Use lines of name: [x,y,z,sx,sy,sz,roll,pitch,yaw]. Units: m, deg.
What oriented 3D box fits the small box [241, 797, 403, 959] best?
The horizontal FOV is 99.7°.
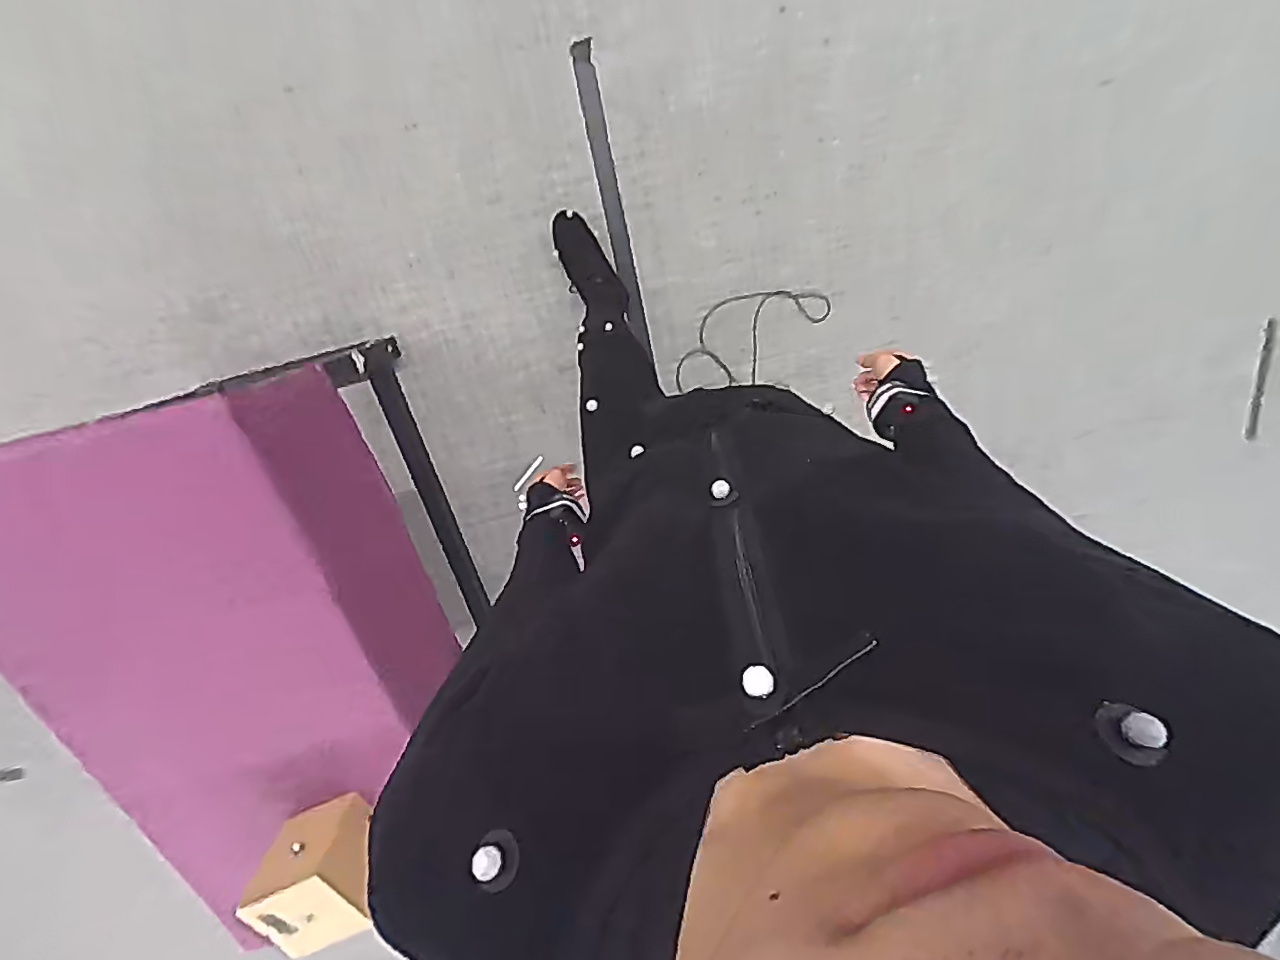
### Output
small box: [-0.600,0.763,1.047,0.179,0.176,0.168,-26,111,6]
